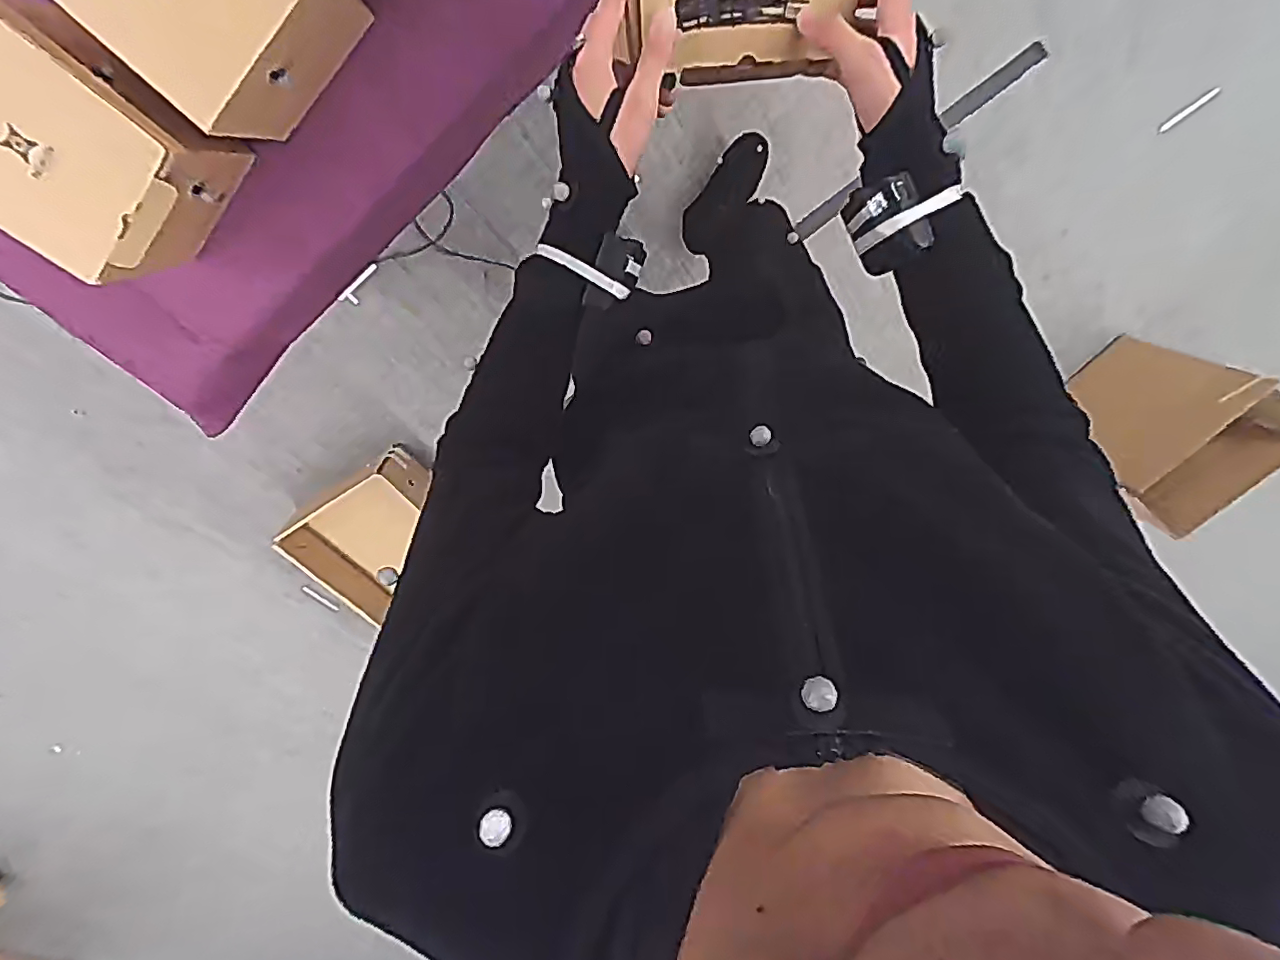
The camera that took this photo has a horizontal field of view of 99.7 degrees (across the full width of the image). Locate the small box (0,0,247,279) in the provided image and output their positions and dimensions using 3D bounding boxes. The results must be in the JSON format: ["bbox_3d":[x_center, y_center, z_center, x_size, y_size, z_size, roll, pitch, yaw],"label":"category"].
[{"bbox_3d":[-0.552,-0.339,0.545,0.168,0.176,0.179,-43,117,15],"label":"small box"}]
